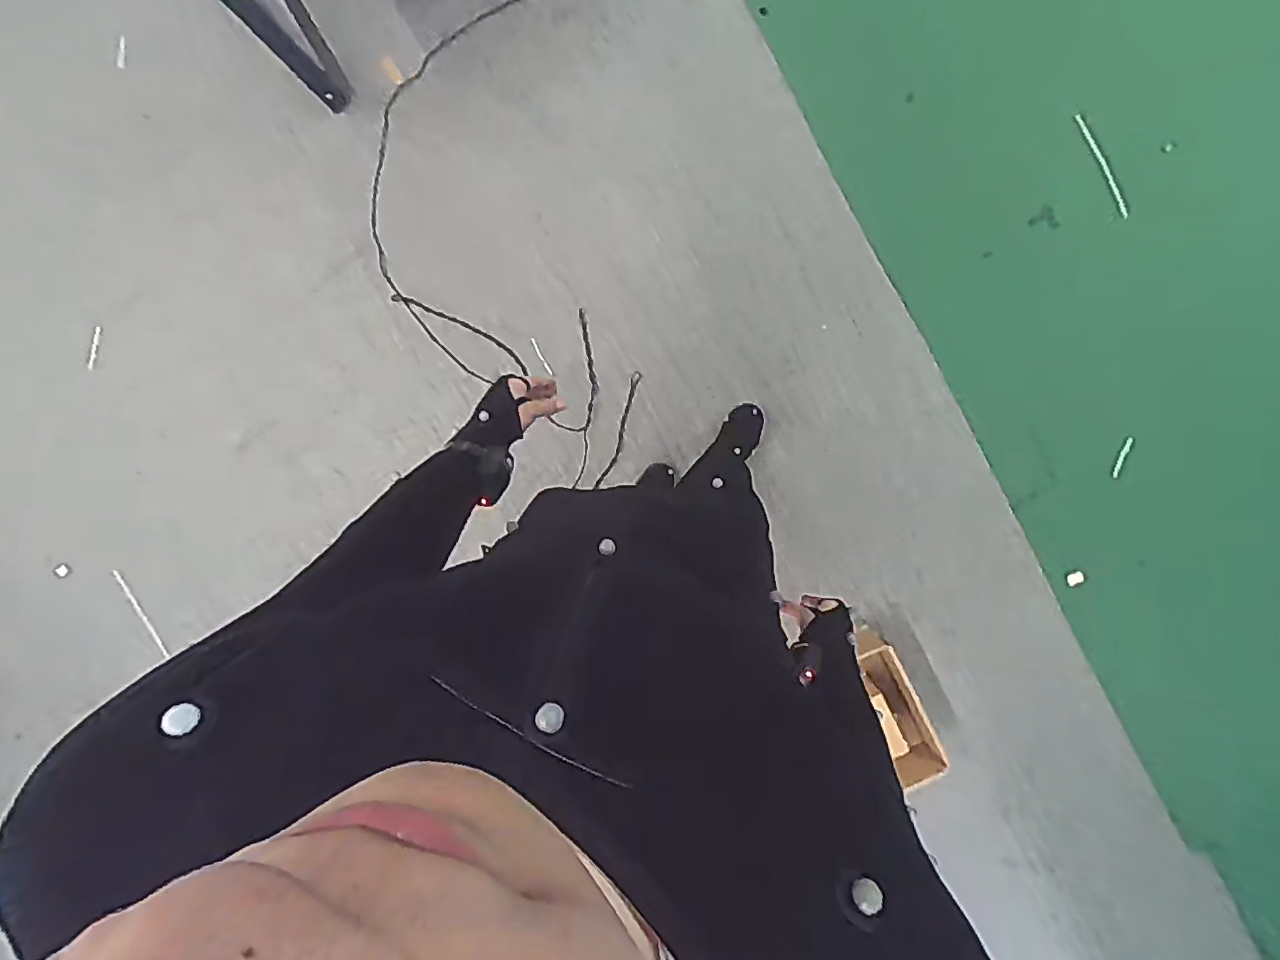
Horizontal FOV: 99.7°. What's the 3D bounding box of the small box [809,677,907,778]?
[{"bbox_3d":[0.594,0.672,1.498,0.168,0.176,0.179,-27,92,4],"label":"small box"}]
